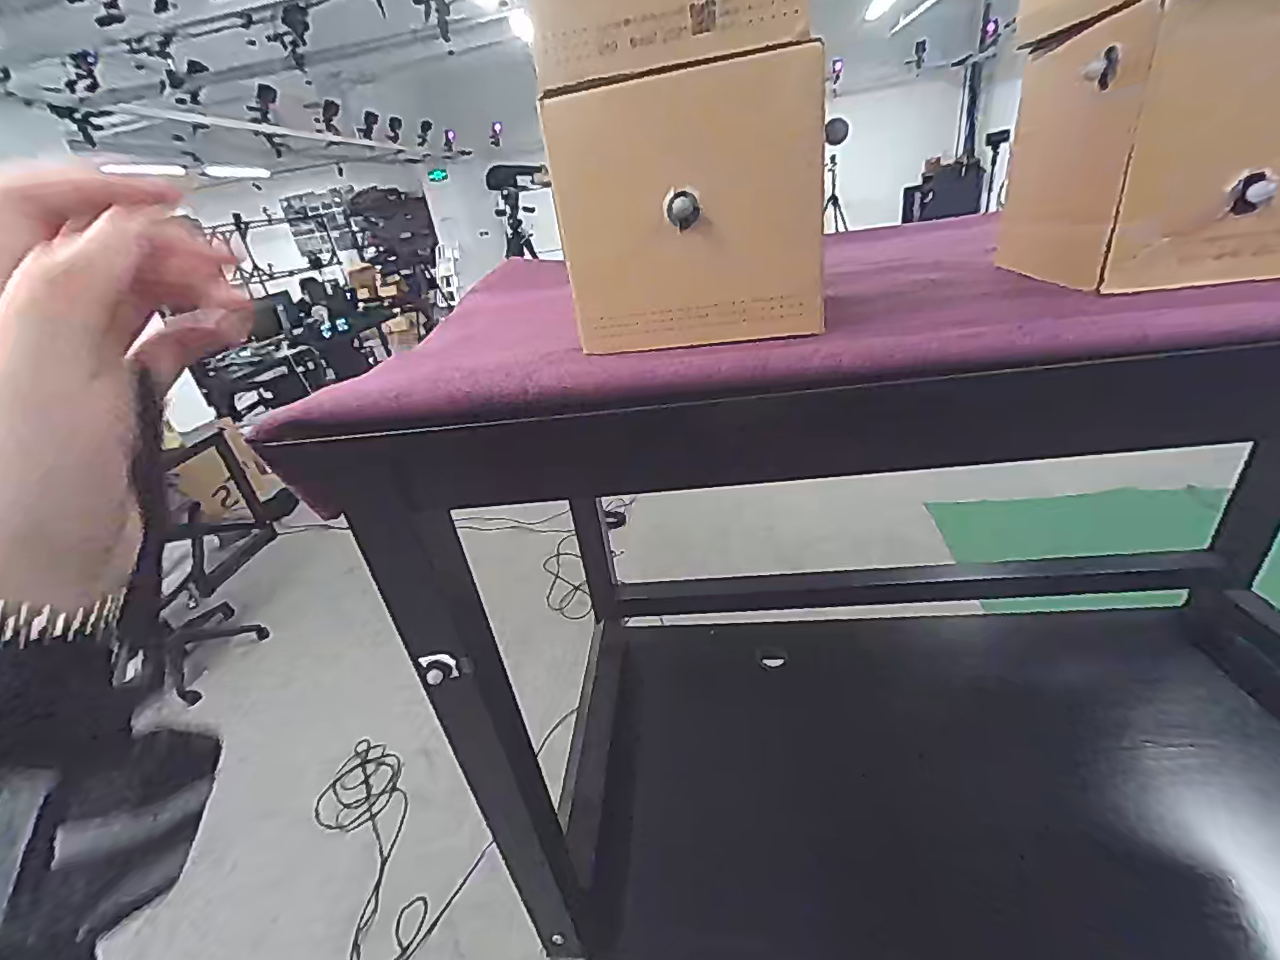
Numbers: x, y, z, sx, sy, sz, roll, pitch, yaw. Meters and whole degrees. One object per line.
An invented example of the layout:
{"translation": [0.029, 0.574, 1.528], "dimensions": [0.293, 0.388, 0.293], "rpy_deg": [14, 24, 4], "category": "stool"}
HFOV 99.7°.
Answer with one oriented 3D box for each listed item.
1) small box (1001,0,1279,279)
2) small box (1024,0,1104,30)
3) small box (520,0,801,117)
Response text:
{"translation": [0.383, -0.243, 0.377], "dimensions": [0.168, 0.176, 0.179], "rpy_deg": [-3, 28, 12], "category": "small box"}
{"translation": [0.352, -0.383, 0.301], "dimensions": [0.168, 0.176, 0.179], "rpy_deg": [-7, 28, 8], "category": "small box"}
{"translation": [0.010, -0.360, 0.356], "dimensions": [0.168, 0.176, 0.179], "rpy_deg": [-5, 28, 9], "category": "small box"}
